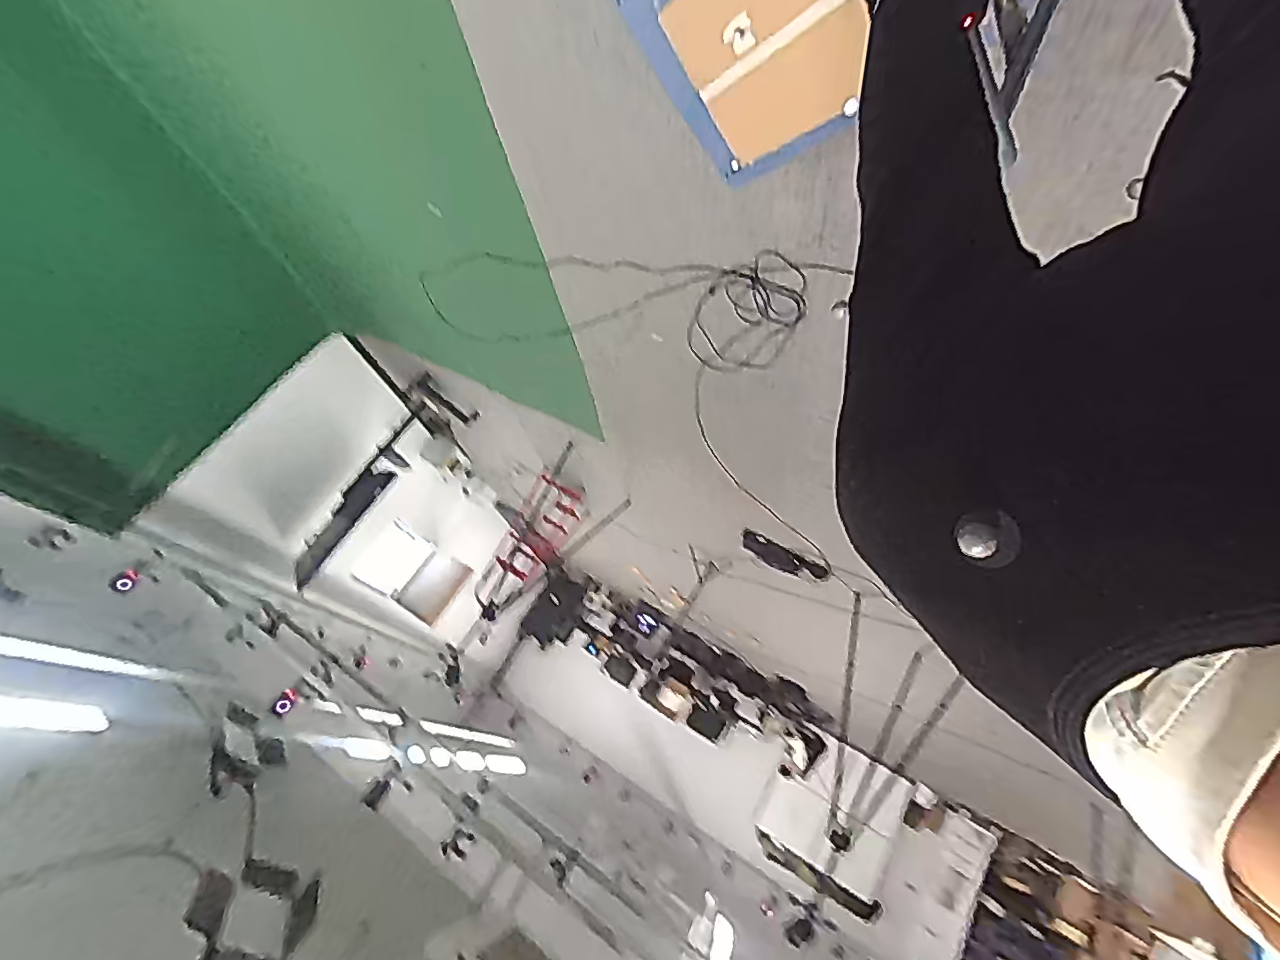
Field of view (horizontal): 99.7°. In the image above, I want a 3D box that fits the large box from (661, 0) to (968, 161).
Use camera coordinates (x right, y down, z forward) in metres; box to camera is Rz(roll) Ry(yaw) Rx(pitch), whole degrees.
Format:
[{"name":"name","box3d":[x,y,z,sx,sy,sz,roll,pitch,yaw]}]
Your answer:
[{"name":"large box","box3d":[0.324,-0.876,0.966,0.408,0.320,0.320,6,146,52]}]
